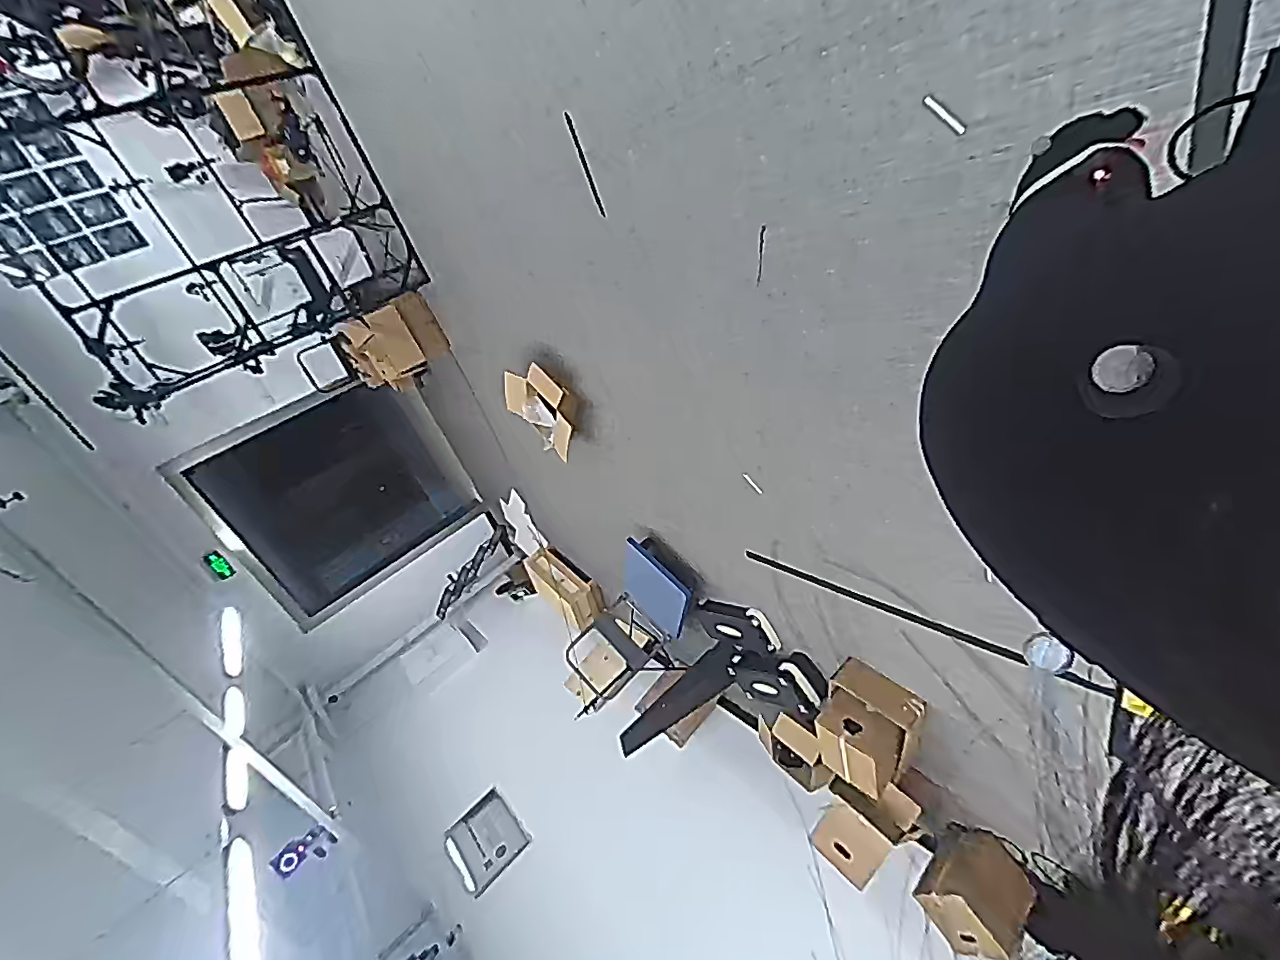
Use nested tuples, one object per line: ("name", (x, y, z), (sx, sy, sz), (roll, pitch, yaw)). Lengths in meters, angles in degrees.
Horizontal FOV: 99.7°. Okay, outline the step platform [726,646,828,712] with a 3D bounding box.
("step platform", (0.820, 1.219, 3.339), (0.286, 0.204, 0.684), (54, 153, -2))
